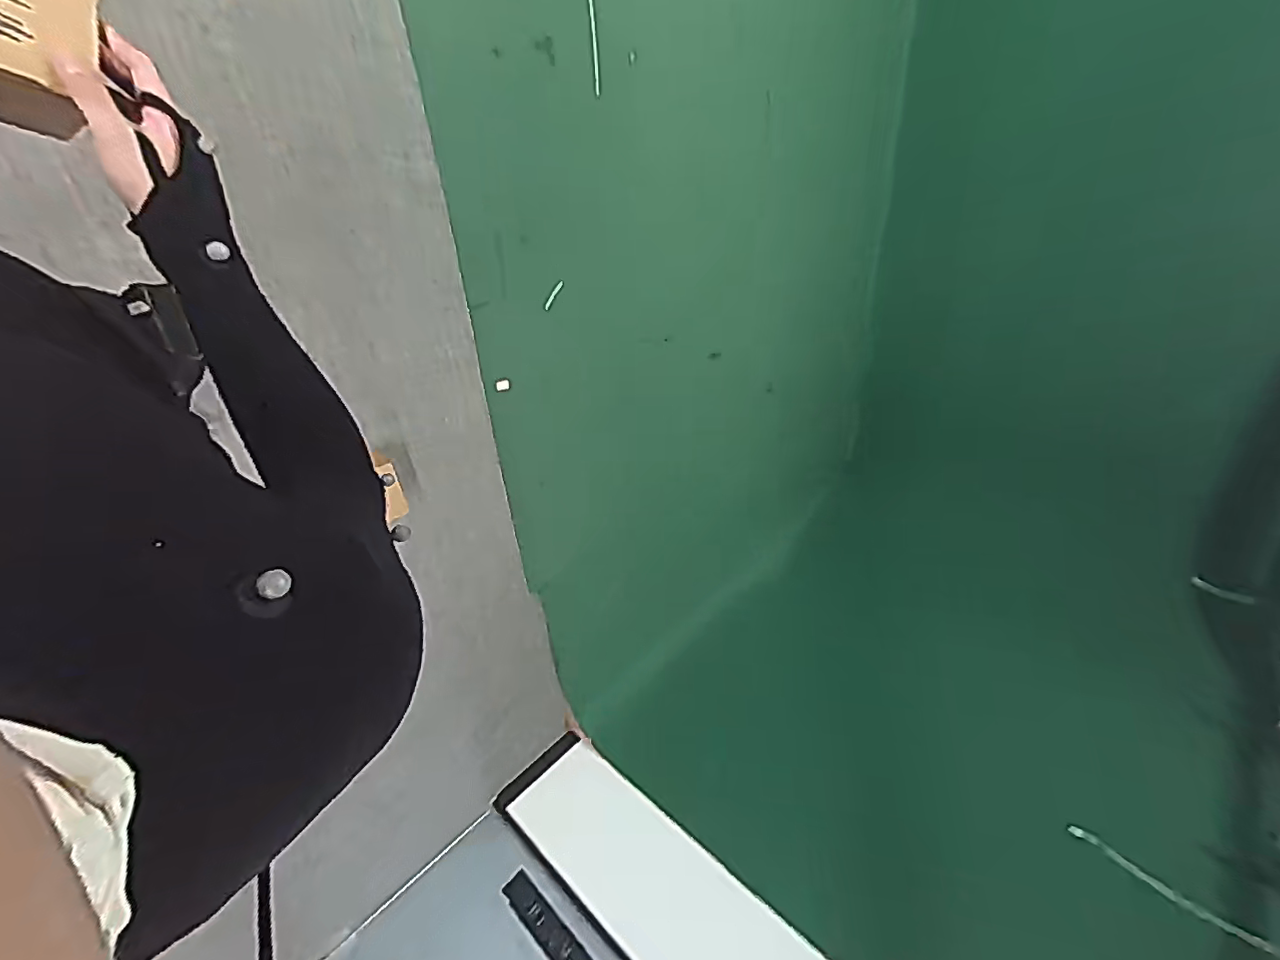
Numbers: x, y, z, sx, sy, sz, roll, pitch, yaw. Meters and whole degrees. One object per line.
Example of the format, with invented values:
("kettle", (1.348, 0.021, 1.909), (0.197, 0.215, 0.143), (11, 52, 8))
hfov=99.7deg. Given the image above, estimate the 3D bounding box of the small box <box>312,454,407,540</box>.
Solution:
("small box", (-0.806, 0.038, 1.550), (0.168, 0.176, 0.179), (-30, 128, -36))
